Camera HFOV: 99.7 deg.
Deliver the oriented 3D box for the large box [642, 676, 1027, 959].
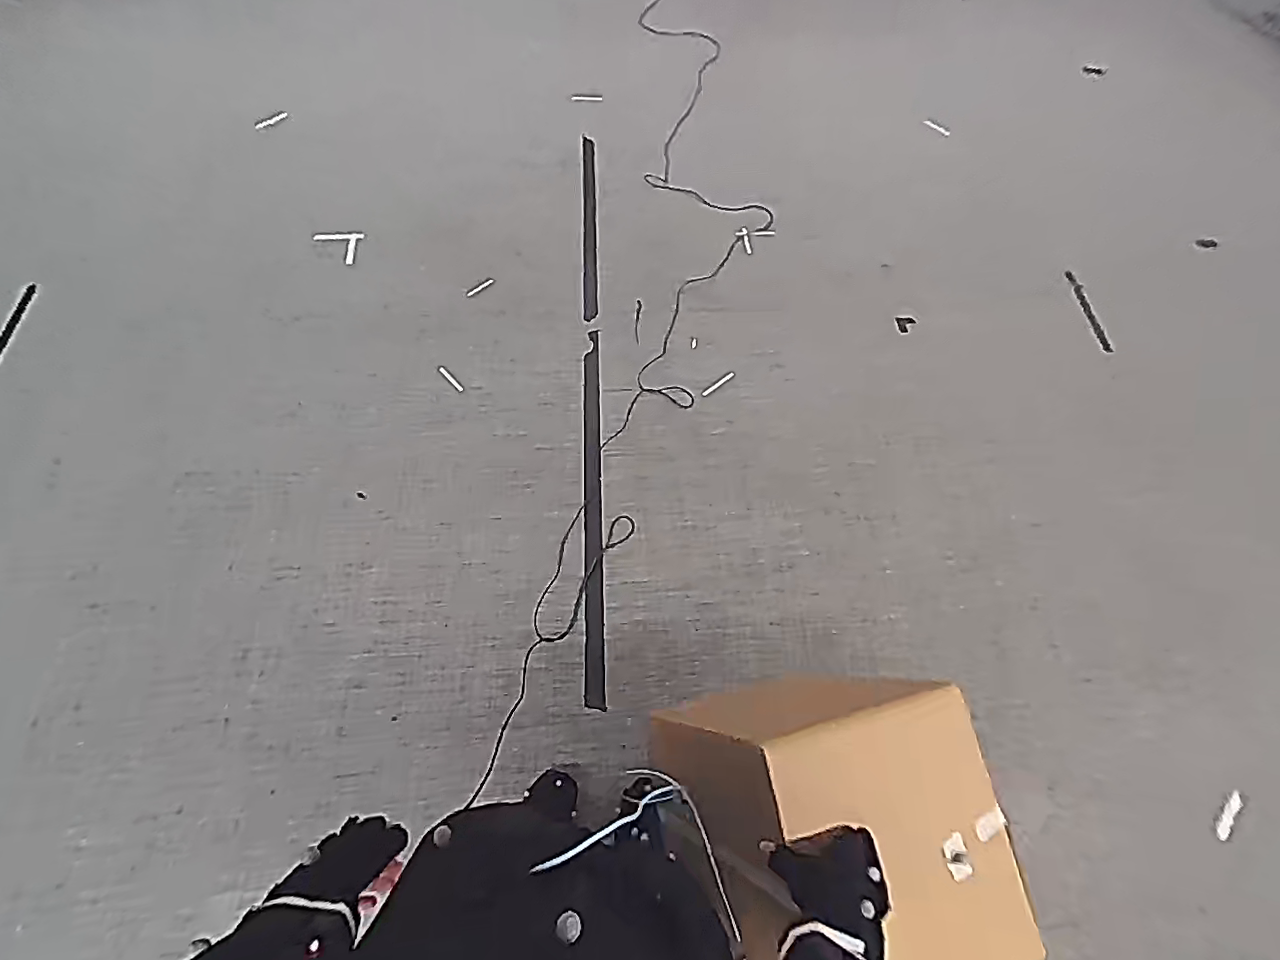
[{"bbox_3d":[0.239,0.492,0.808,0.320,0.408,0.320,-8,74,-21],"label":"large box"}]
